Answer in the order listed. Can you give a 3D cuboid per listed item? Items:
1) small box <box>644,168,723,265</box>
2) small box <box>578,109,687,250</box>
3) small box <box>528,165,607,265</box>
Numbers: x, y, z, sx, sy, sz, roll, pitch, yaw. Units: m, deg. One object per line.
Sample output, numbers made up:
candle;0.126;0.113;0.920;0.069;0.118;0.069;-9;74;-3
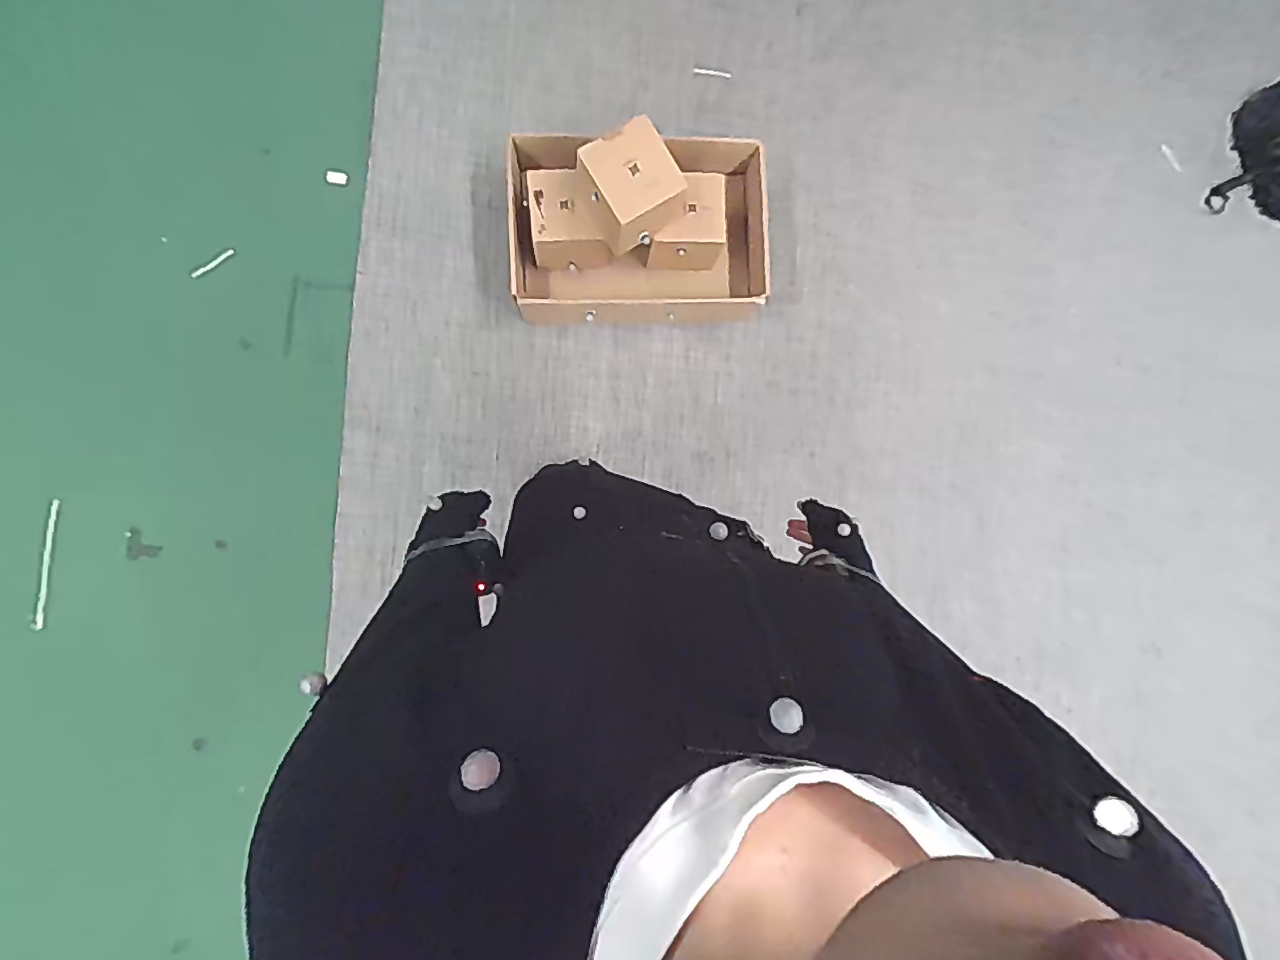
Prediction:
small box;0.102;-0.648;1.346;0.179;0.176;0.168;-1;90;-5
small box;-0.024;-0.639;1.172;0.168;0.176;0.179;-33;95;-5
small box;-0.177;-0.637;1.317;0.179;0.176;0.168;-5;90;-8
